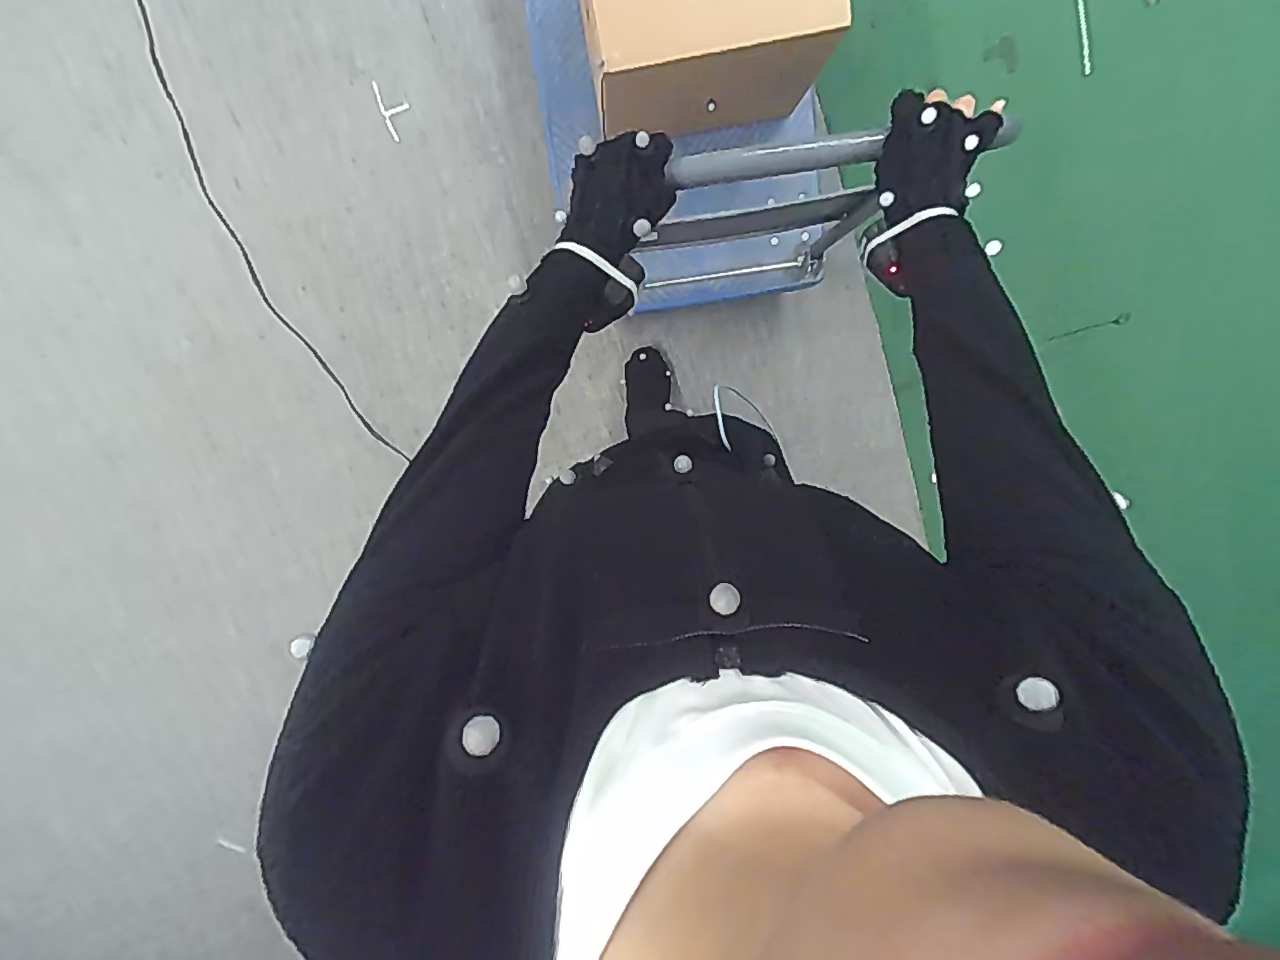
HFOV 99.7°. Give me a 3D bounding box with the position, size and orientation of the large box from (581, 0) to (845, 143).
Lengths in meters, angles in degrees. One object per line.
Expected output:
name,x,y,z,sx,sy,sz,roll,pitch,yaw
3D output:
large box,0.102,-0.871,0.980,0.408,0.320,0.320,-11,102,1
